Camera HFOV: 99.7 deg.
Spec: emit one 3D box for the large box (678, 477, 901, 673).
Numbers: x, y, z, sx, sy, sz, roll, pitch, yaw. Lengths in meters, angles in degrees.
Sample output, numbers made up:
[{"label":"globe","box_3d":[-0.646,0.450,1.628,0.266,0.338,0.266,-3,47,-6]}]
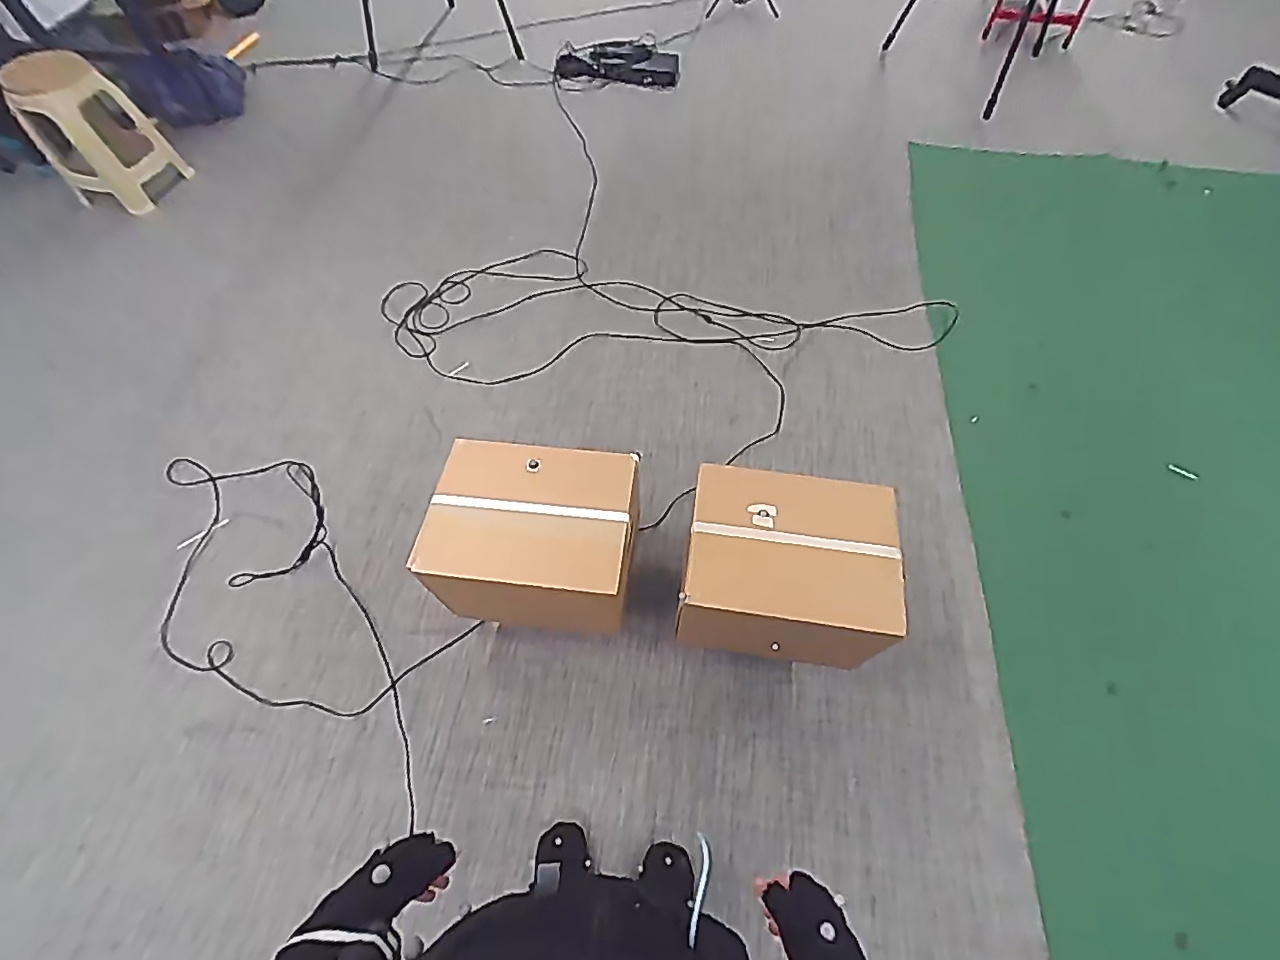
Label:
[{"label":"large box","box_3d":[0.306,0.220,1.203,0.408,0.320,0.320,8,59,5]}]
